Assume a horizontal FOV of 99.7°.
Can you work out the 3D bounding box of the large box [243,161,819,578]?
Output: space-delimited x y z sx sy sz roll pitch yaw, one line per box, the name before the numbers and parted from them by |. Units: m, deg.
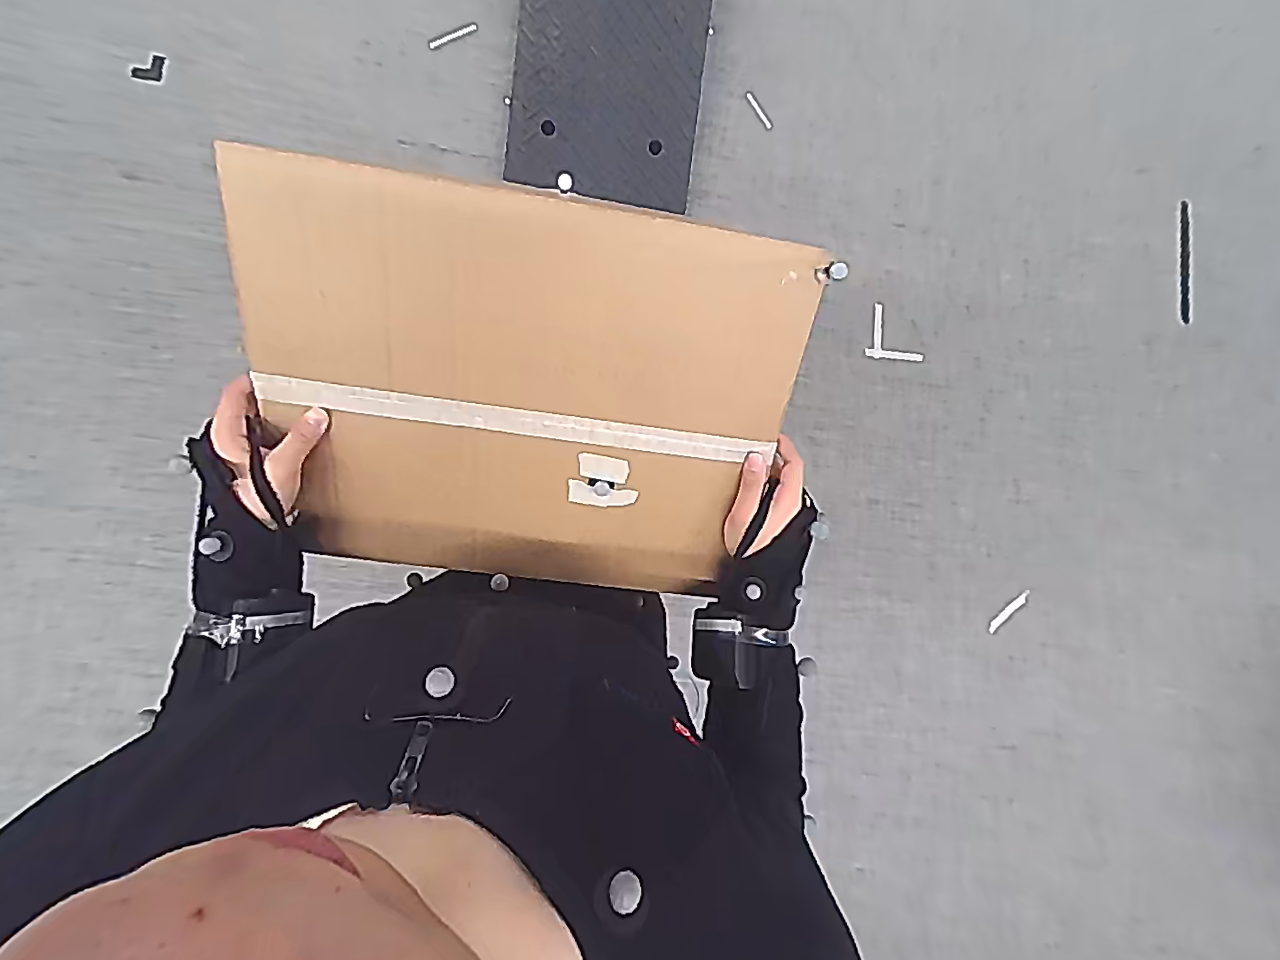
large box | -0.094 -0.125 0.571 0.408 0.320 0.320 6 119 -7
